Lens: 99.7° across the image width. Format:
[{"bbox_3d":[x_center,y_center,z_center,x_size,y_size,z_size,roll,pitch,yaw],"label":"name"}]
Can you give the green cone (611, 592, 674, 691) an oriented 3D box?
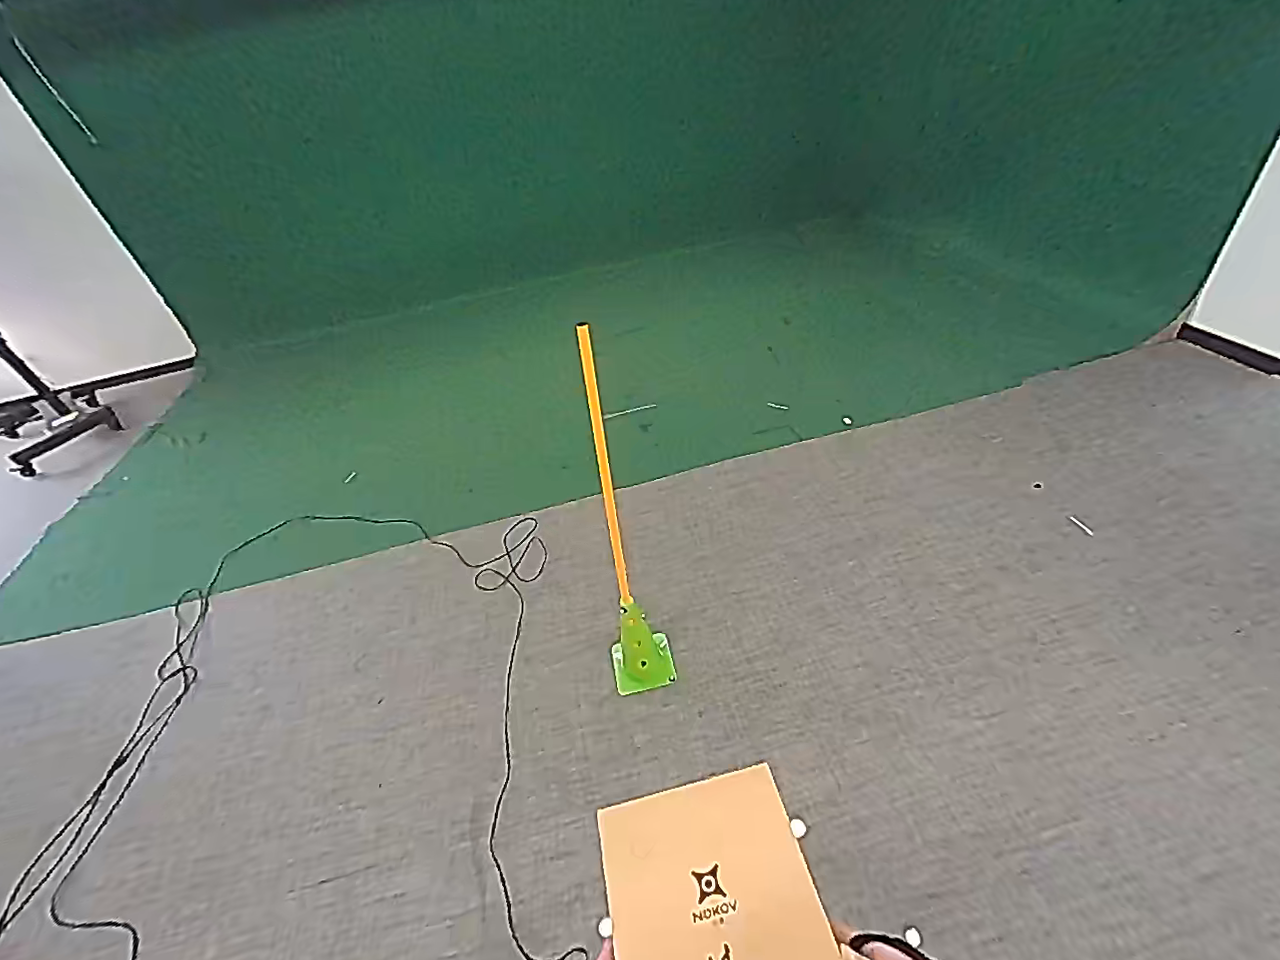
[{"bbox_3d":[-0.022,0.488,1.759,0.202,0.368,0.200,-14,39,-2],"label":"green cone"}]
